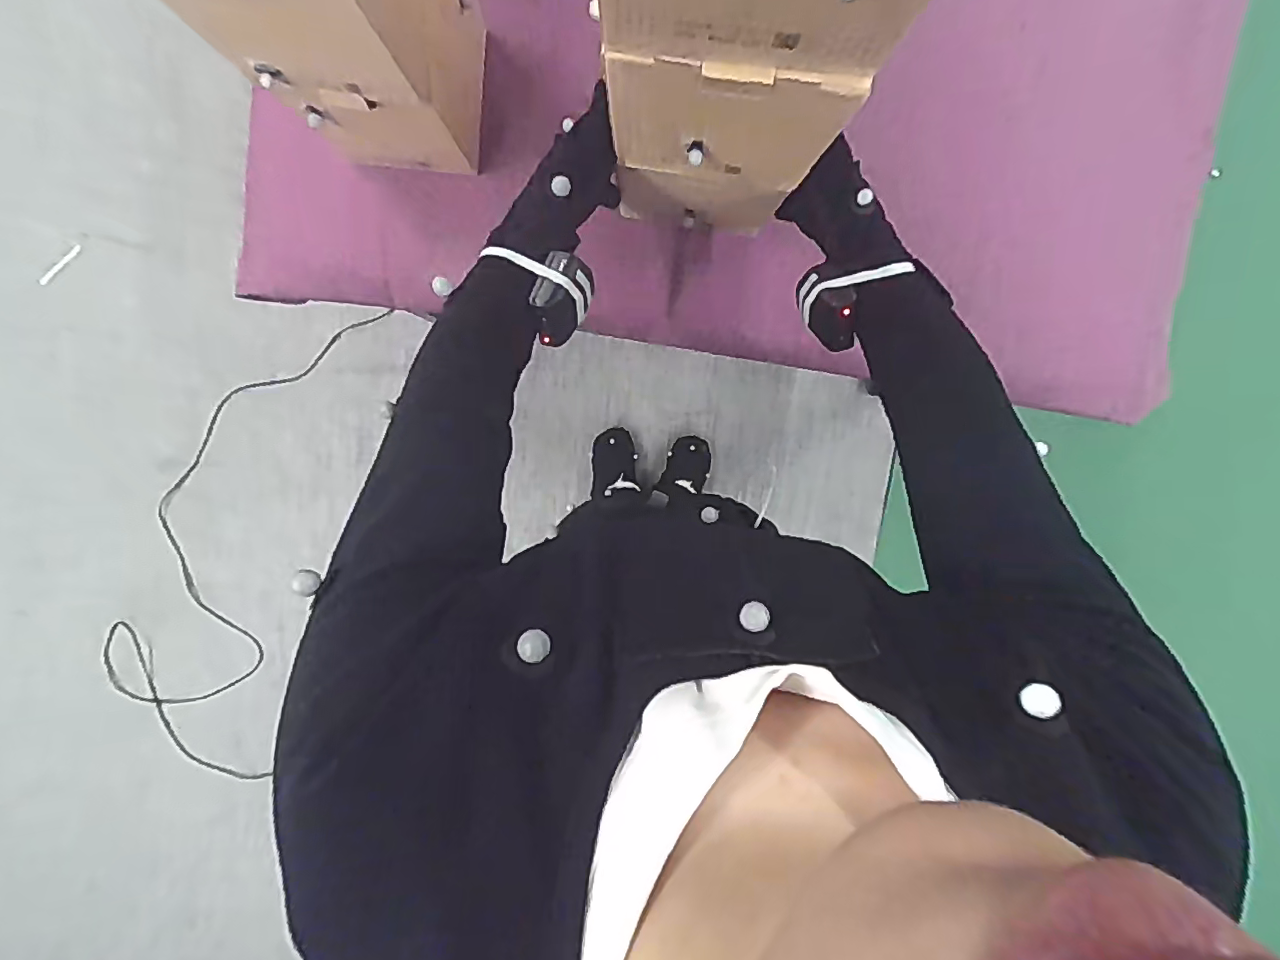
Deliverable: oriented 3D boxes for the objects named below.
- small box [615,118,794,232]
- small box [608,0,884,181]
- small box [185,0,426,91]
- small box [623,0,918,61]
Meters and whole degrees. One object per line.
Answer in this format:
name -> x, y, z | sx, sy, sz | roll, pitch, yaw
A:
small box -> 0.071, -0.374, 0.543 | 0.168, 0.176, 0.179 | 9, 101, -1
small box -> 0.071, -0.344, 0.383 | 0.168, 0.176, 0.179 | 8, 102, -2
small box -> -0.271, -0.448, 0.418 | 0.168, 0.176, 0.179 | 9, 97, -5
small box -> 0.070, -0.317, 0.222 | 0.168, 0.176, 0.179 | 6, 101, -2
